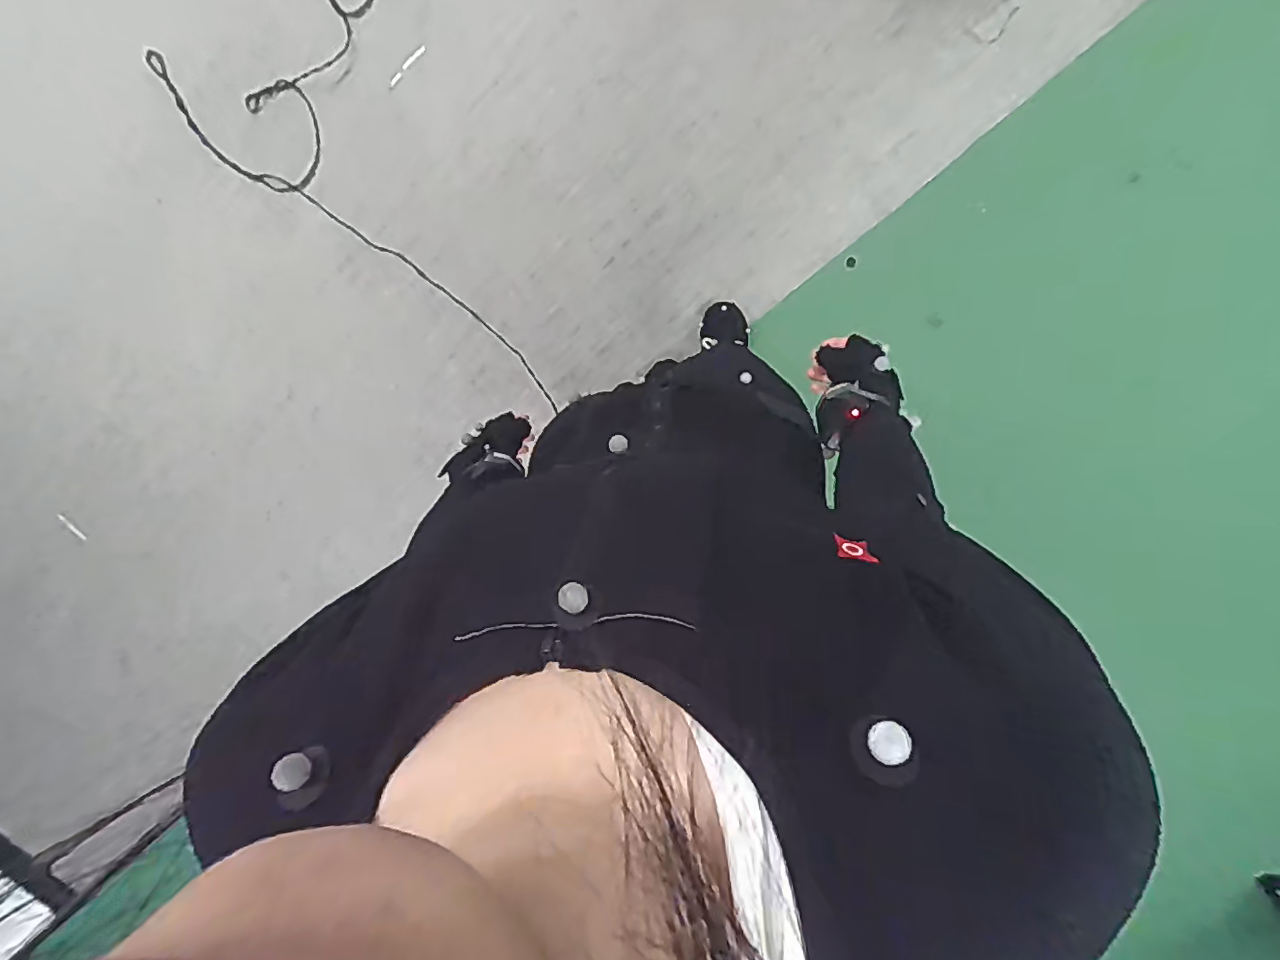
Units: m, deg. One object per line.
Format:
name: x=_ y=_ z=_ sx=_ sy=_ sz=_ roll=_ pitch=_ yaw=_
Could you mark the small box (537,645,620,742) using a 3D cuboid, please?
small box: x=-0.178 y=0.640 z=1.634 sx=0.179 sy=0.176 sz=0.168 roll=-36 pitch=100 yaw=13
